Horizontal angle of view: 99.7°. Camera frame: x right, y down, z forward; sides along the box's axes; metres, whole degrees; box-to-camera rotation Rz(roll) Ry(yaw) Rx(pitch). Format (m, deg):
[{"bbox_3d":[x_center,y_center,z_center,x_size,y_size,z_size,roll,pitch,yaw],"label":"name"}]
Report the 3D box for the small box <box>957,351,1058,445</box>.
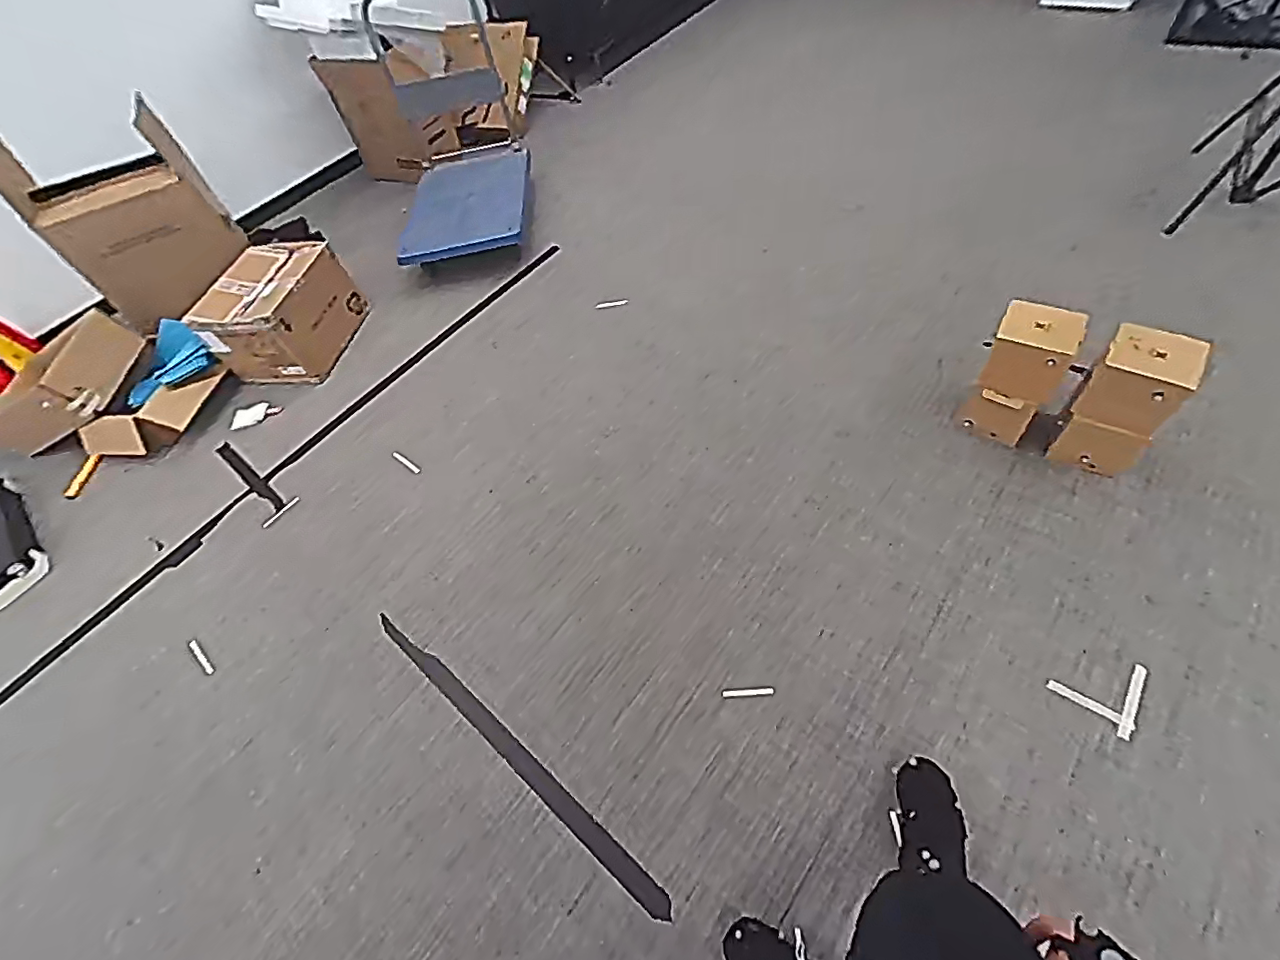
[{"bbox_3d":[1.035,-0.229,1.537,0.168,0.176,0.179,31,66,29],"label":"small box"}]
